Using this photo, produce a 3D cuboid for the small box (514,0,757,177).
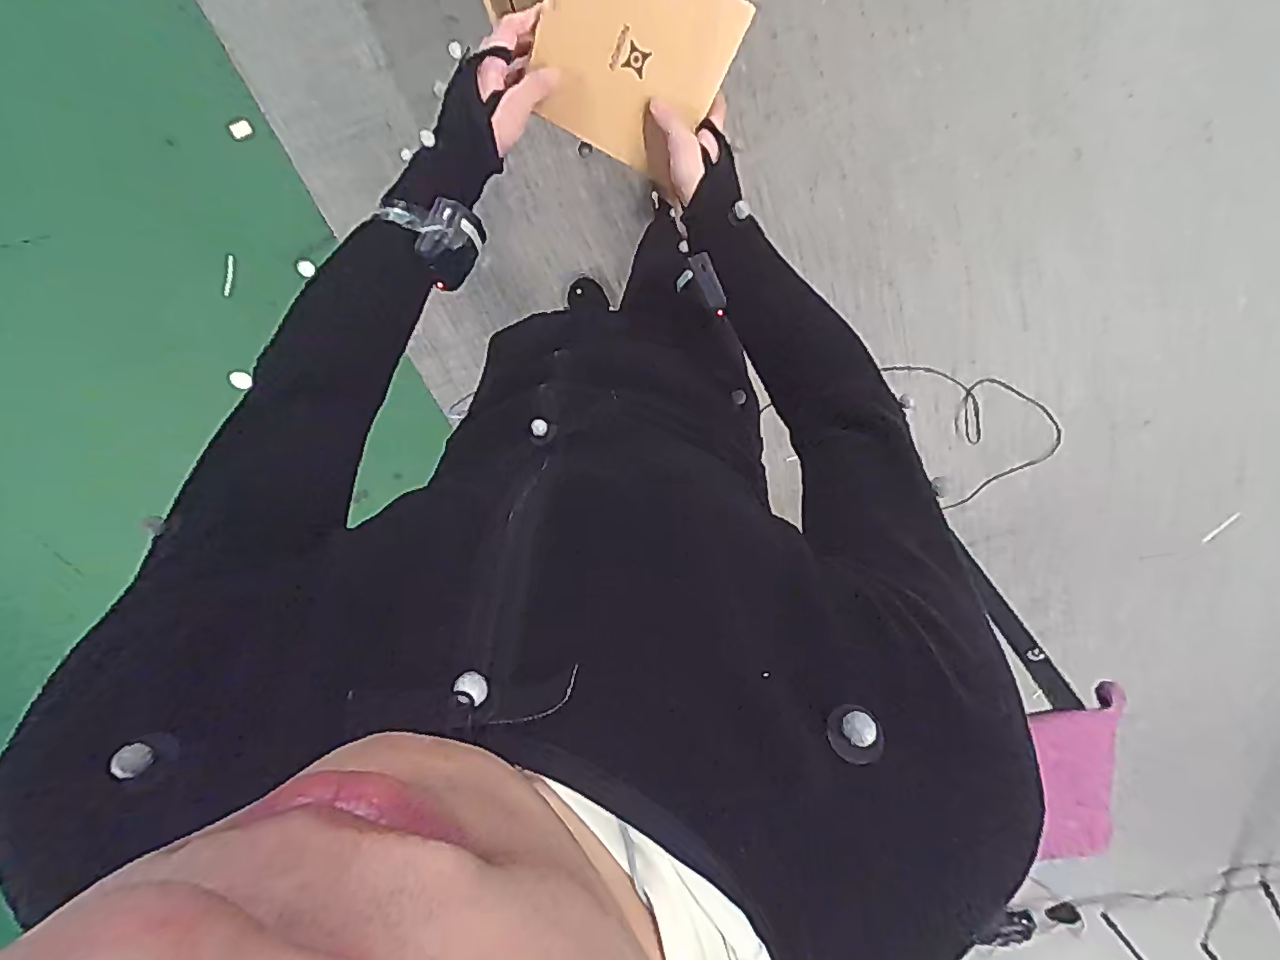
[{"bbox_3d":[-0.011,-0.450,0.554,0.179,0.176,0.168,19,126,-18],"label":"small box"}]
